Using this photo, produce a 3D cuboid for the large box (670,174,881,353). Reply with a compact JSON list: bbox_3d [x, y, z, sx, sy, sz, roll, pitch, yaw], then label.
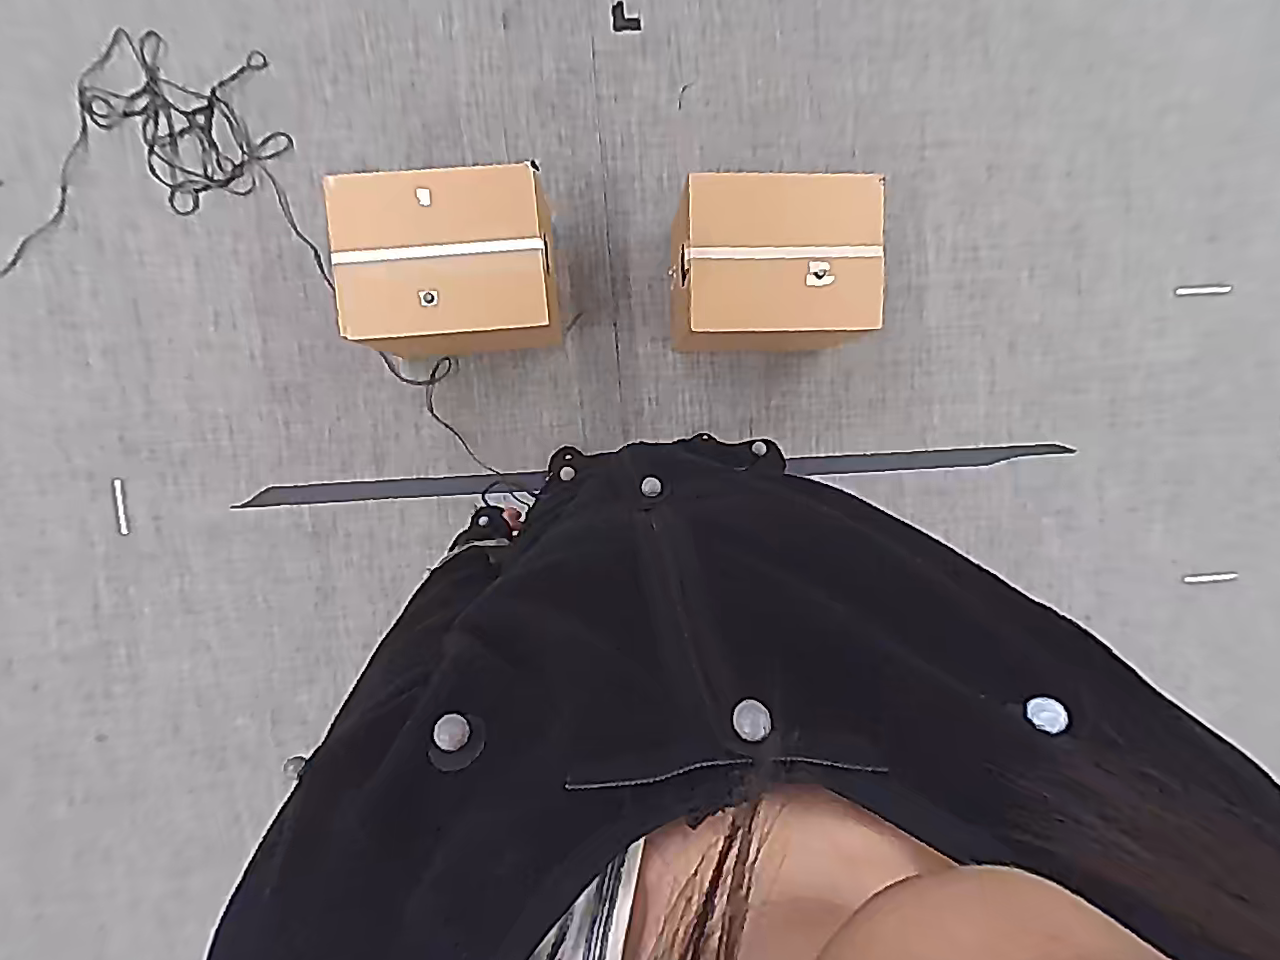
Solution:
[{"bbox_3d":[0.289,-0.479,1.258,0.408,0.320,0.320,-1,95,-4],"label":"large box"}]
